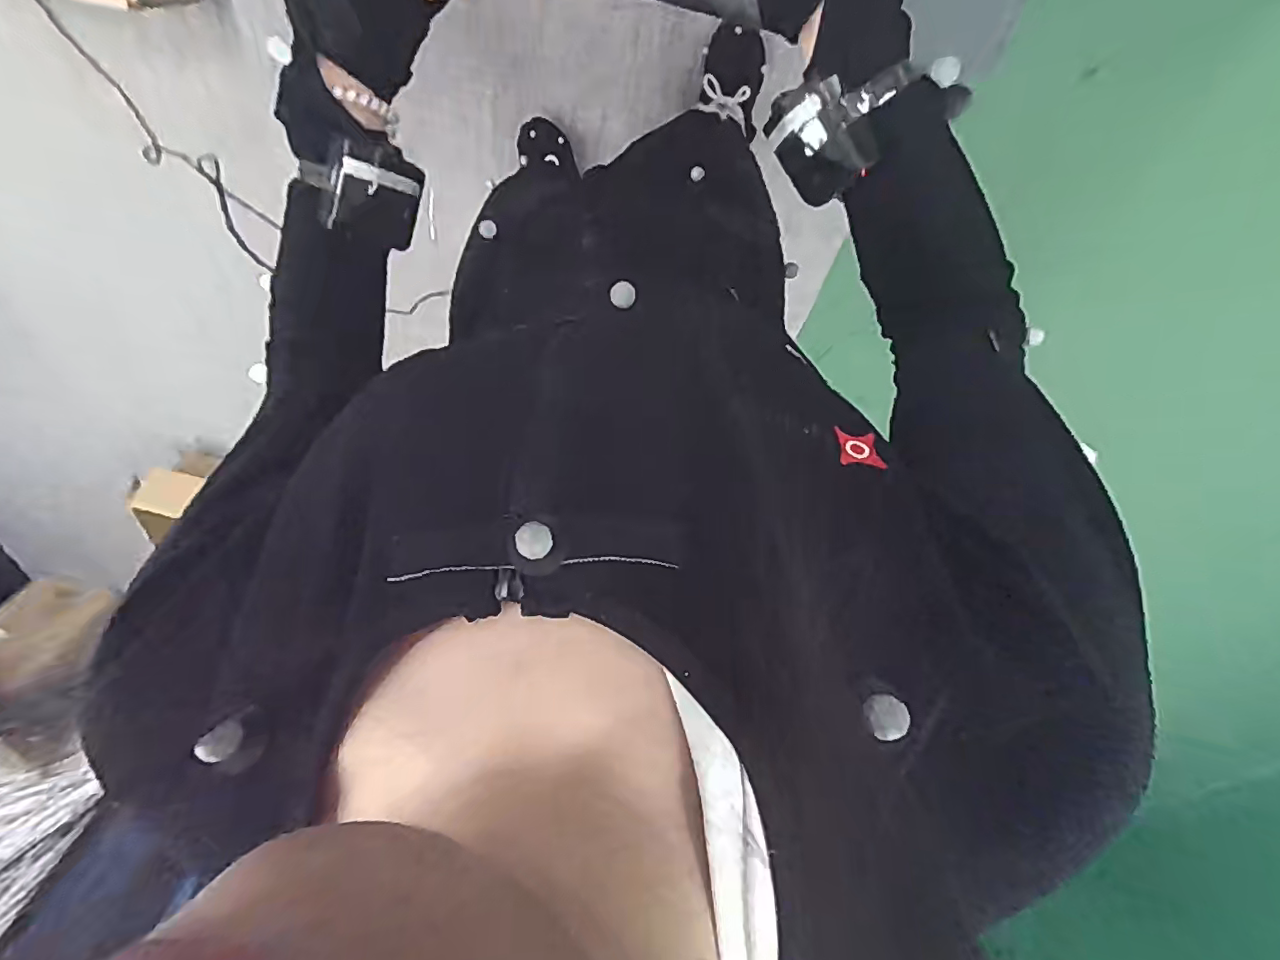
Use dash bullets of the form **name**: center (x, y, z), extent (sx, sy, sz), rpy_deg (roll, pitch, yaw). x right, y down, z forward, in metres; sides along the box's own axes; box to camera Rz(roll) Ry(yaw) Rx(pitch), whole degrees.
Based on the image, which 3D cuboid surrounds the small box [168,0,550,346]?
- **small box**: center (-0.204, -0.221, 0.404), extent (0.176, 0.179, 0.168), rpy_deg (7, 161, 39)
